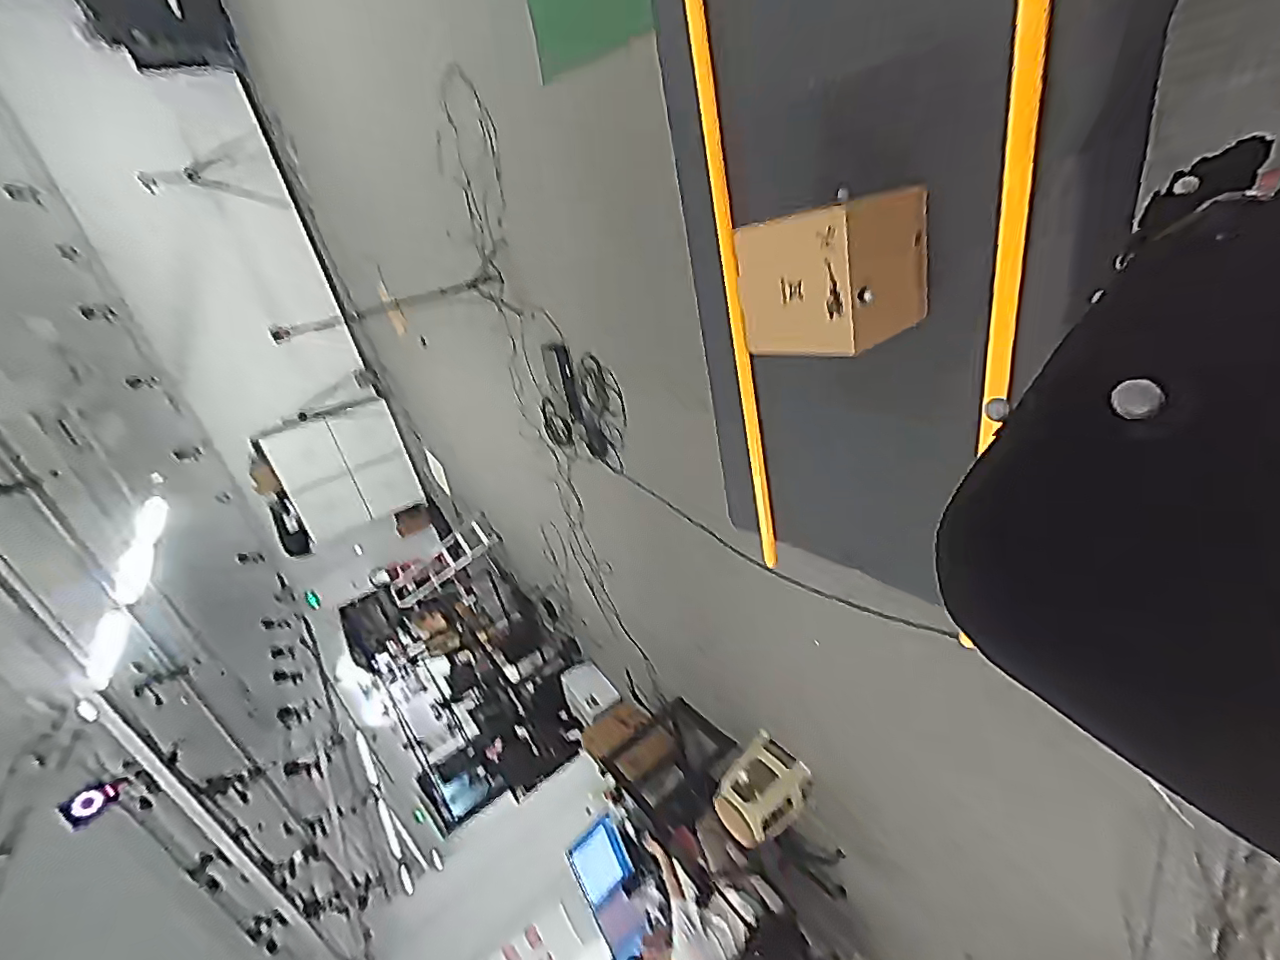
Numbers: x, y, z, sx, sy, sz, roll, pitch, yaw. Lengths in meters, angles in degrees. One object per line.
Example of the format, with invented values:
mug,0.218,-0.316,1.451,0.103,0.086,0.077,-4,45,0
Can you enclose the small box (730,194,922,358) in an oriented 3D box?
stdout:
small box,0.252,-0.272,0.733,0.179,0.176,0.168,20,131,53
